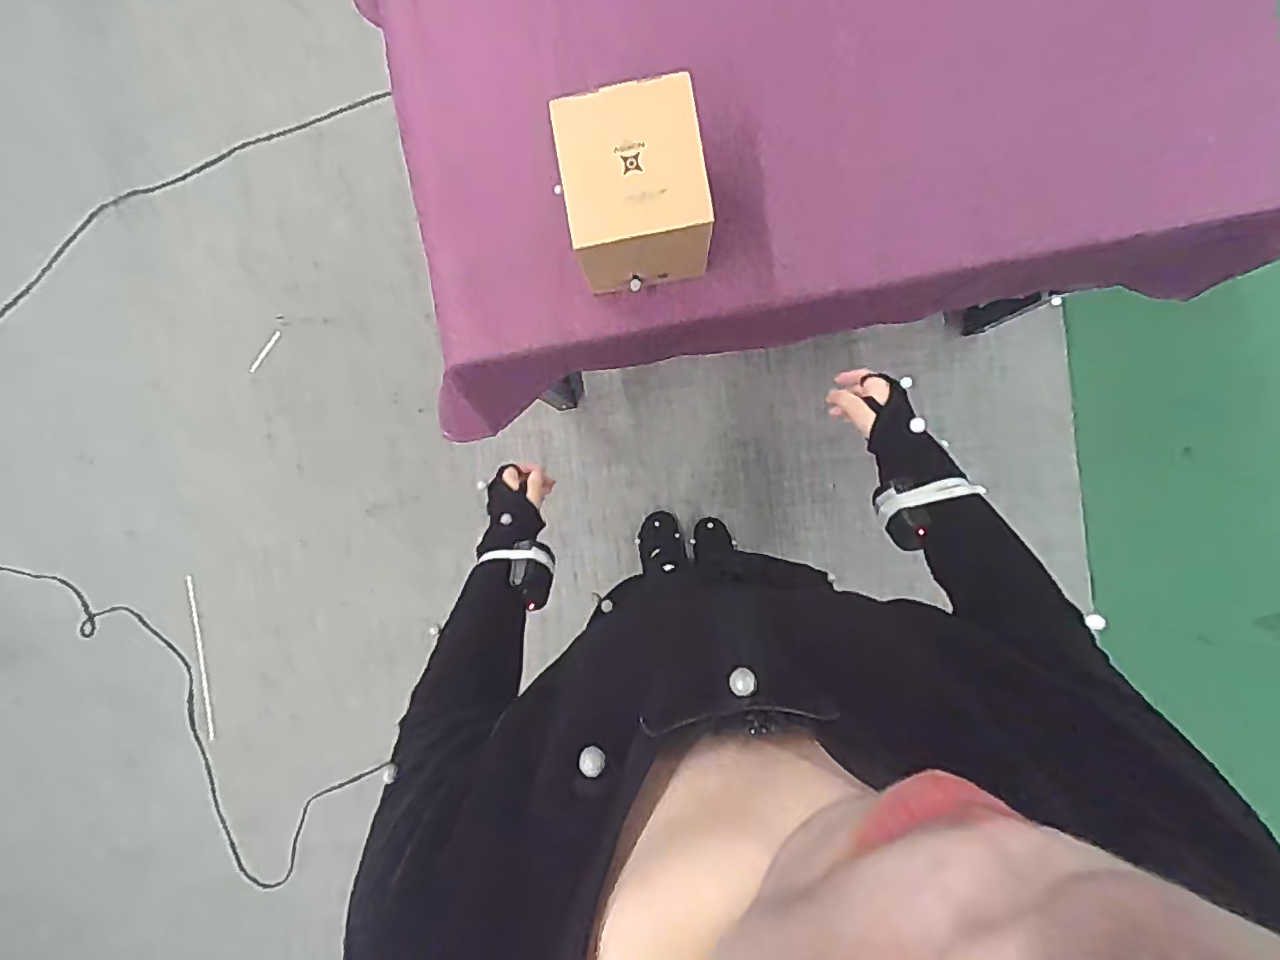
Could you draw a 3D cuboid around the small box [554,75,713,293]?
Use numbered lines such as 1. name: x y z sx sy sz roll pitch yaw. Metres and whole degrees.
1. small box: -0.004 -0.364 0.698 0.168 0.176 0.179 -9 91 4
